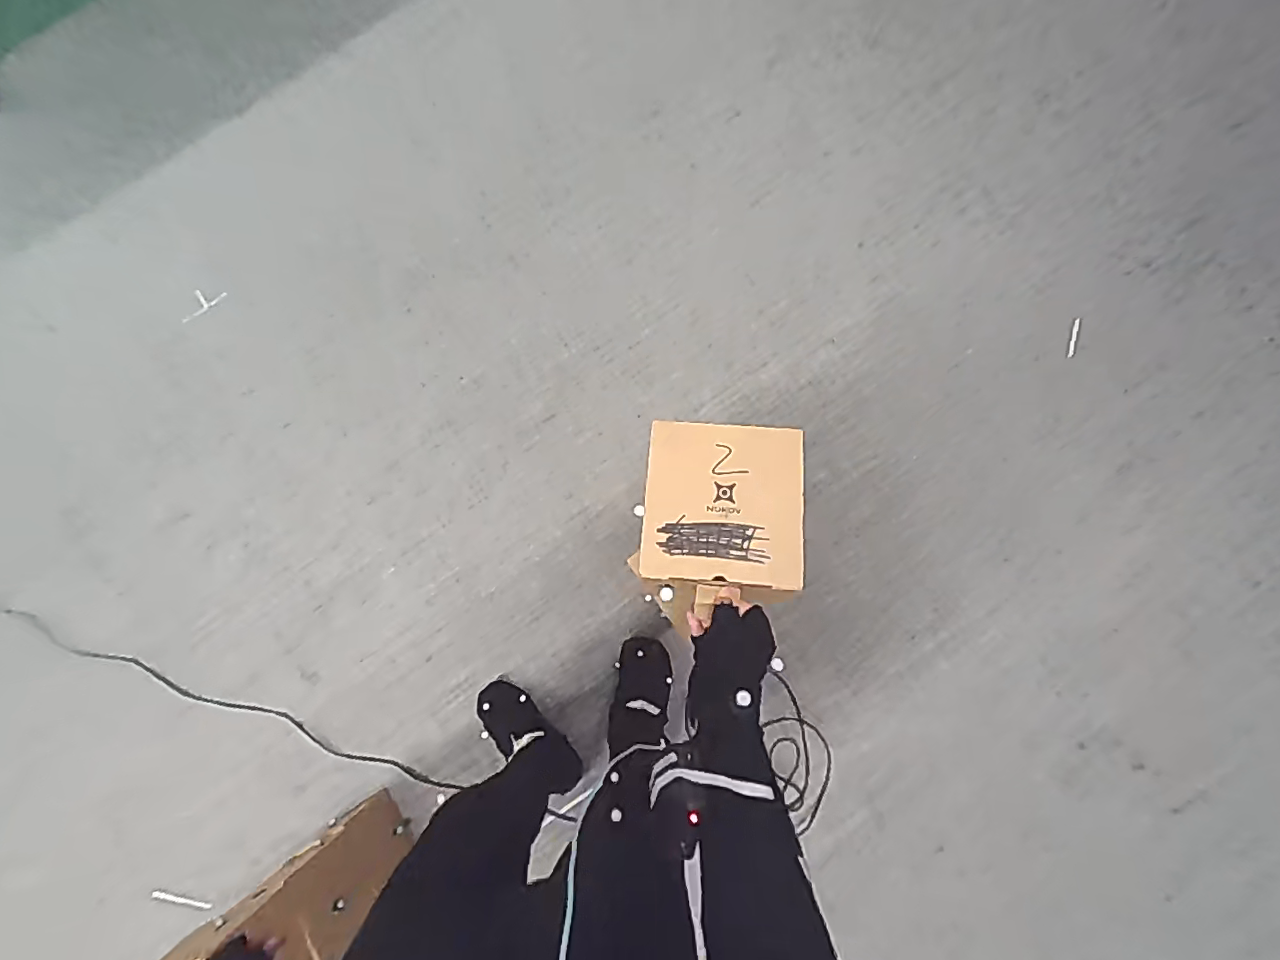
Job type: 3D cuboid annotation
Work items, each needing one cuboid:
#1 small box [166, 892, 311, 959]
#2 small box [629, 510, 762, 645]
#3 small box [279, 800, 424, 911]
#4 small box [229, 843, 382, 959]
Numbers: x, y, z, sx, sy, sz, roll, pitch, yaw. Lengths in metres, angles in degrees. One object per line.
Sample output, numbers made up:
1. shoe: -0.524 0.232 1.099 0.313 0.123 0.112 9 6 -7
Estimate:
1. small box: -0.621 0.776 0.802 0.168 0.176 0.179 -27 81 0
2. small box: 0.096 0.178 1.004 0.168 0.176 0.179 -37 82 -2
3. small box: -0.592 0.808 1.129 0.168 0.176 0.179 -36 81 2
4. small box: -0.604 0.793 0.963 0.168 0.176 0.179 -32 83 -1
